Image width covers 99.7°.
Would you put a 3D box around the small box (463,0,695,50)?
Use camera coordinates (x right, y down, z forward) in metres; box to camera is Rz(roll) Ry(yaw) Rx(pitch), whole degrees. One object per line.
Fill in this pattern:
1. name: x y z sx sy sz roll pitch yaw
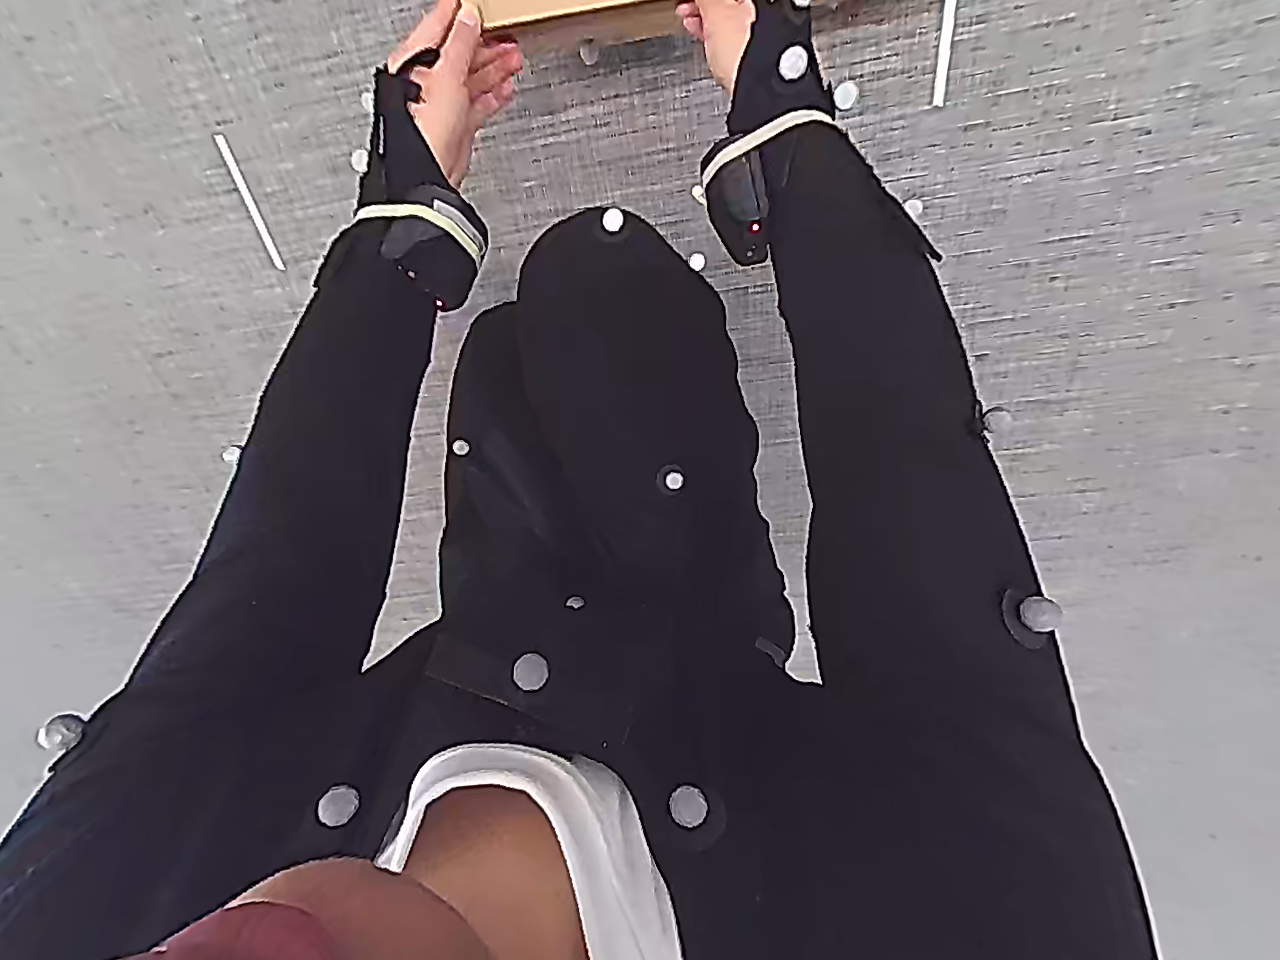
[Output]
1. small box: -0.048 -0.436 0.383 0.168 0.176 0.179 -6 123 4
